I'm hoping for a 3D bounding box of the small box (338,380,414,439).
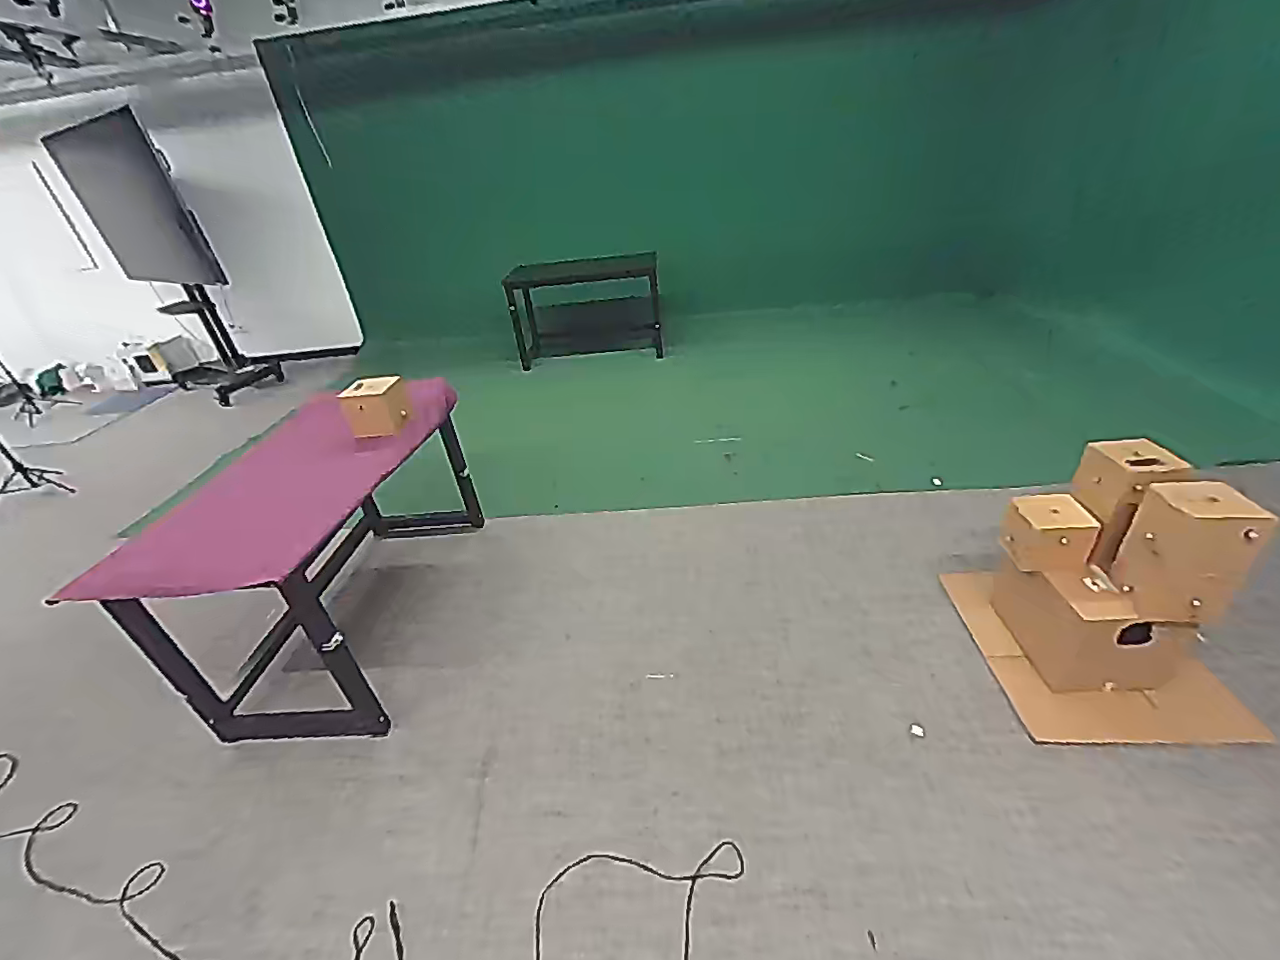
[{"bbox_3d":[-0.987,-0.262,2.036,0.179,0.176,0.168,-3,32,5],"label":"small box"}]

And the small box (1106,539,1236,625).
[{"bbox_3d":[1.426,0.277,1.468,0.168,0.176,0.179,-2,29,8],"label":"small box"}]

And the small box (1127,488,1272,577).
[{"bbox_3d":[1.412,0.134,1.381,0.179,0.176,0.168,-1,29,9],"label":"small box"}]
